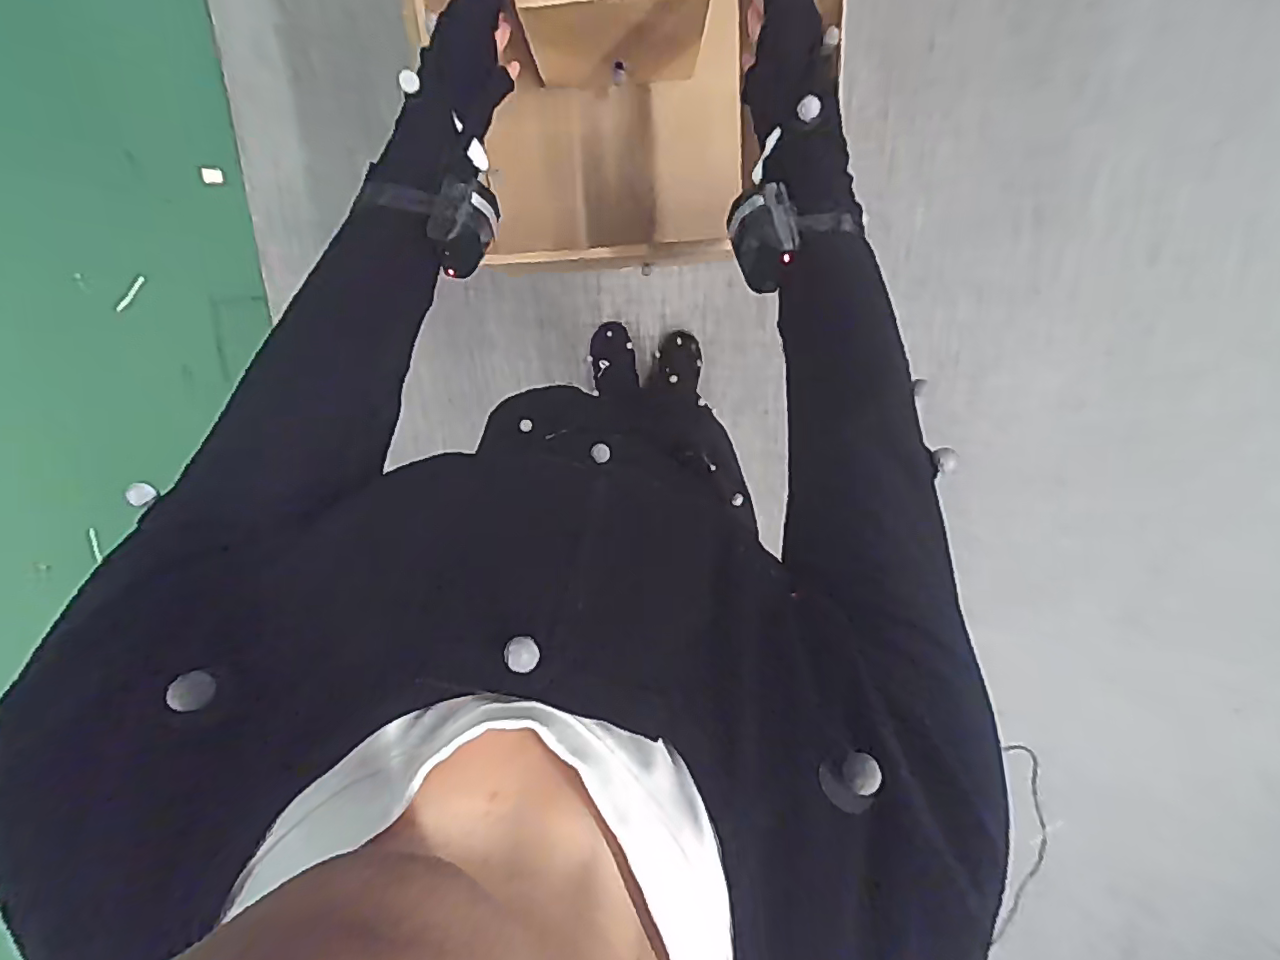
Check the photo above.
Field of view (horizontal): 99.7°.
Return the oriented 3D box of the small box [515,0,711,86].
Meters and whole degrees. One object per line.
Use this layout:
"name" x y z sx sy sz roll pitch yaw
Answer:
"small box" -0.029 -0.517 0.527 0.179 0.176 0.168 -4 105 1
